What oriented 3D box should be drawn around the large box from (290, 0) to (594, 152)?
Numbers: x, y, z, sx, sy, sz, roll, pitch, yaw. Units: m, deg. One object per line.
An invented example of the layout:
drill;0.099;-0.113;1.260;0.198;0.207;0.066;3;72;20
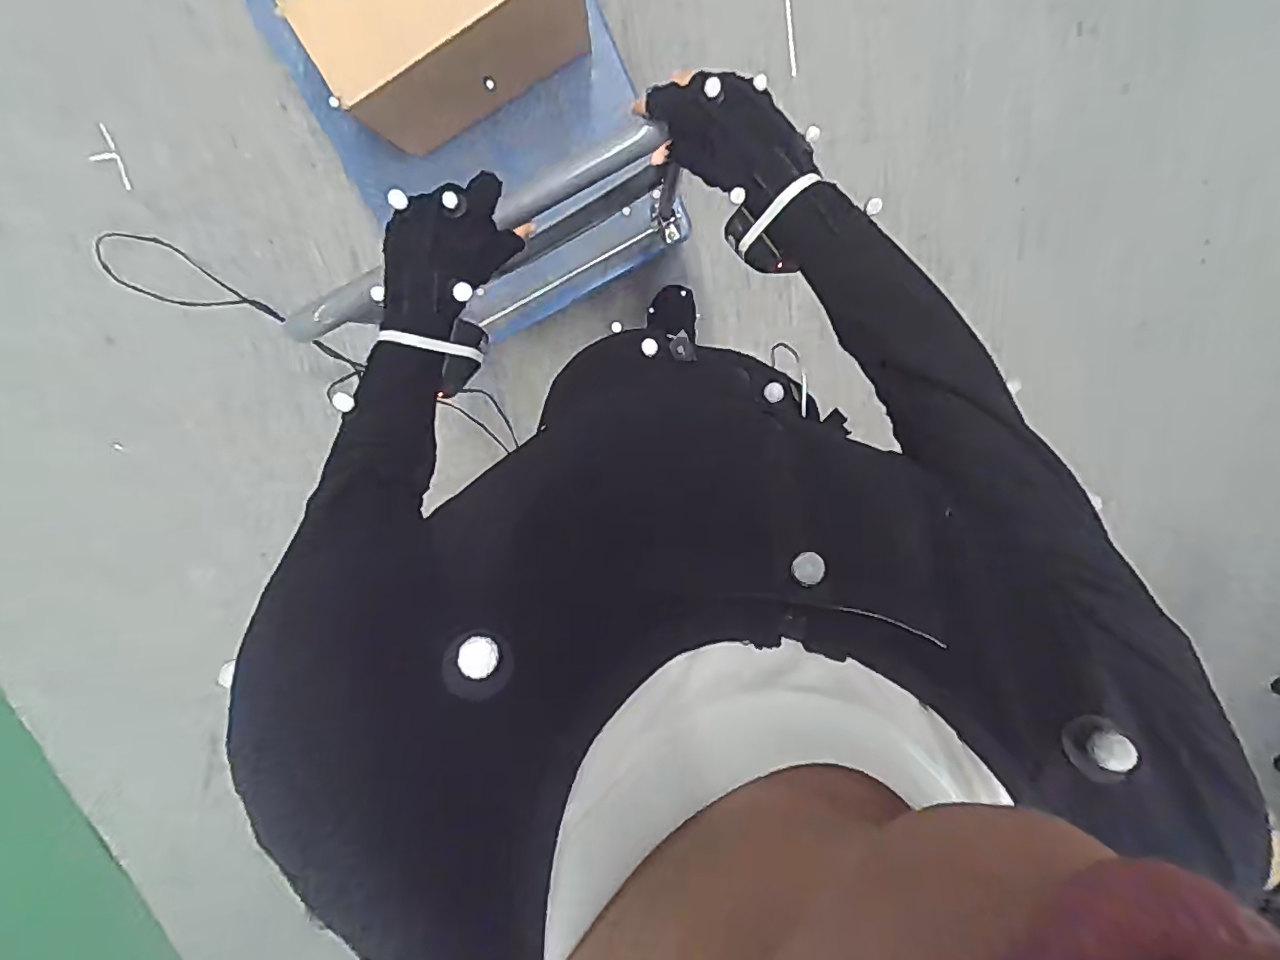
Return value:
large box;-0.324;-0.817;0.867;0.408;0.320;0.320;-28;107;7
